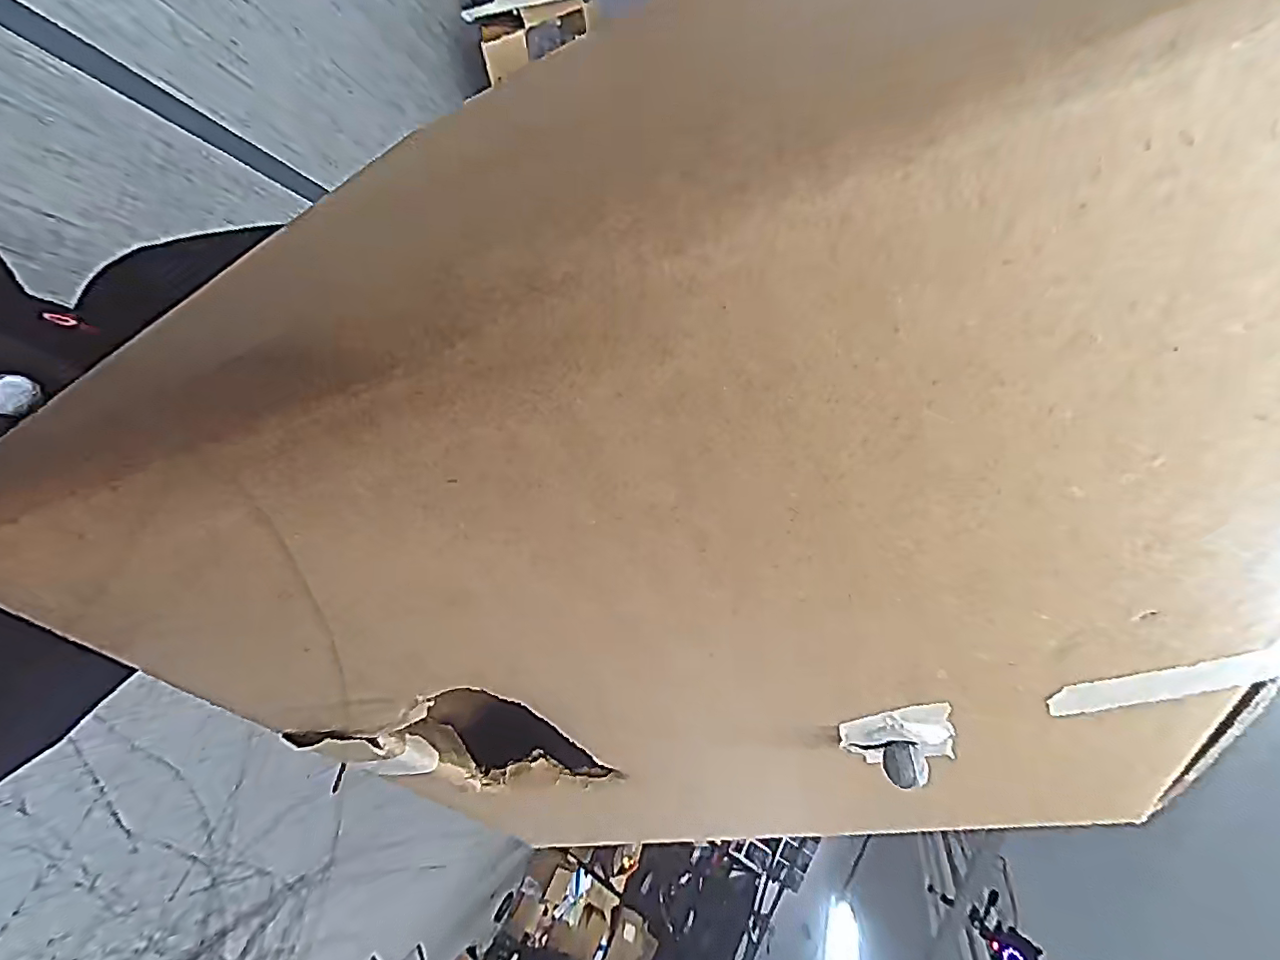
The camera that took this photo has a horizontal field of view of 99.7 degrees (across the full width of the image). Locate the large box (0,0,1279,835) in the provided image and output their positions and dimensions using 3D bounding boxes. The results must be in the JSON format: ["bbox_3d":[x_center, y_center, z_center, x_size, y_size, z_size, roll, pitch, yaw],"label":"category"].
[{"bbox_3d":[0.019,-0.058,0.329,0.408,0.320,0.320,-85,155,-45],"label":"large box"}]
